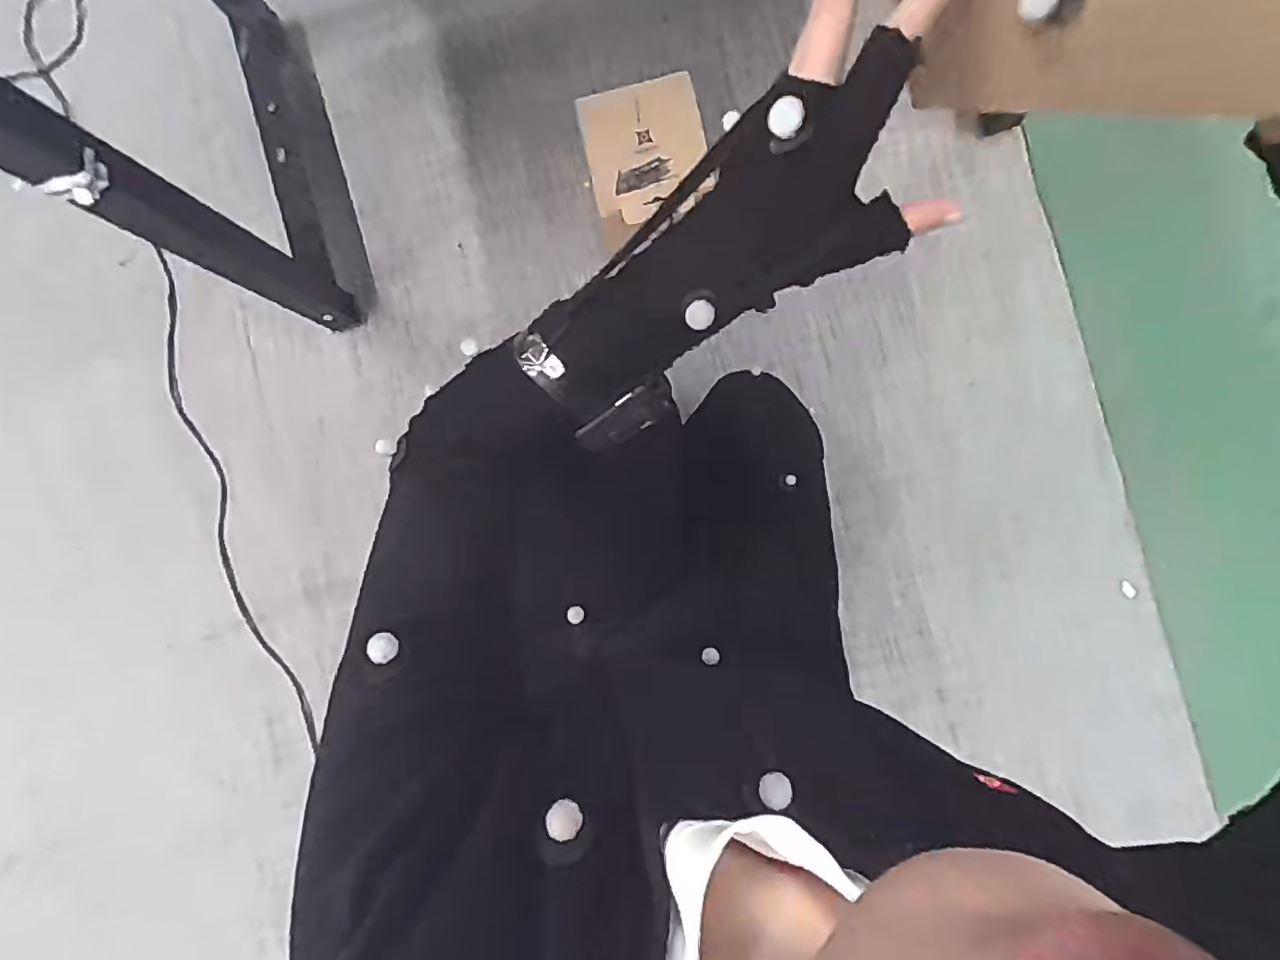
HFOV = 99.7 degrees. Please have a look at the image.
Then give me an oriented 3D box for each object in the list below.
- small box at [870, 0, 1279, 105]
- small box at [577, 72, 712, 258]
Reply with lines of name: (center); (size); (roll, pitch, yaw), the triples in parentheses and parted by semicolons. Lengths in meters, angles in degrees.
small box: (0.174, -0.249, 0.156); (0.168, 0.176, 0.179); (-36, 127, 5)
small box: (0.013, -0.464, 0.830); (0.168, 0.176, 0.179); (-12, 86, 4)
